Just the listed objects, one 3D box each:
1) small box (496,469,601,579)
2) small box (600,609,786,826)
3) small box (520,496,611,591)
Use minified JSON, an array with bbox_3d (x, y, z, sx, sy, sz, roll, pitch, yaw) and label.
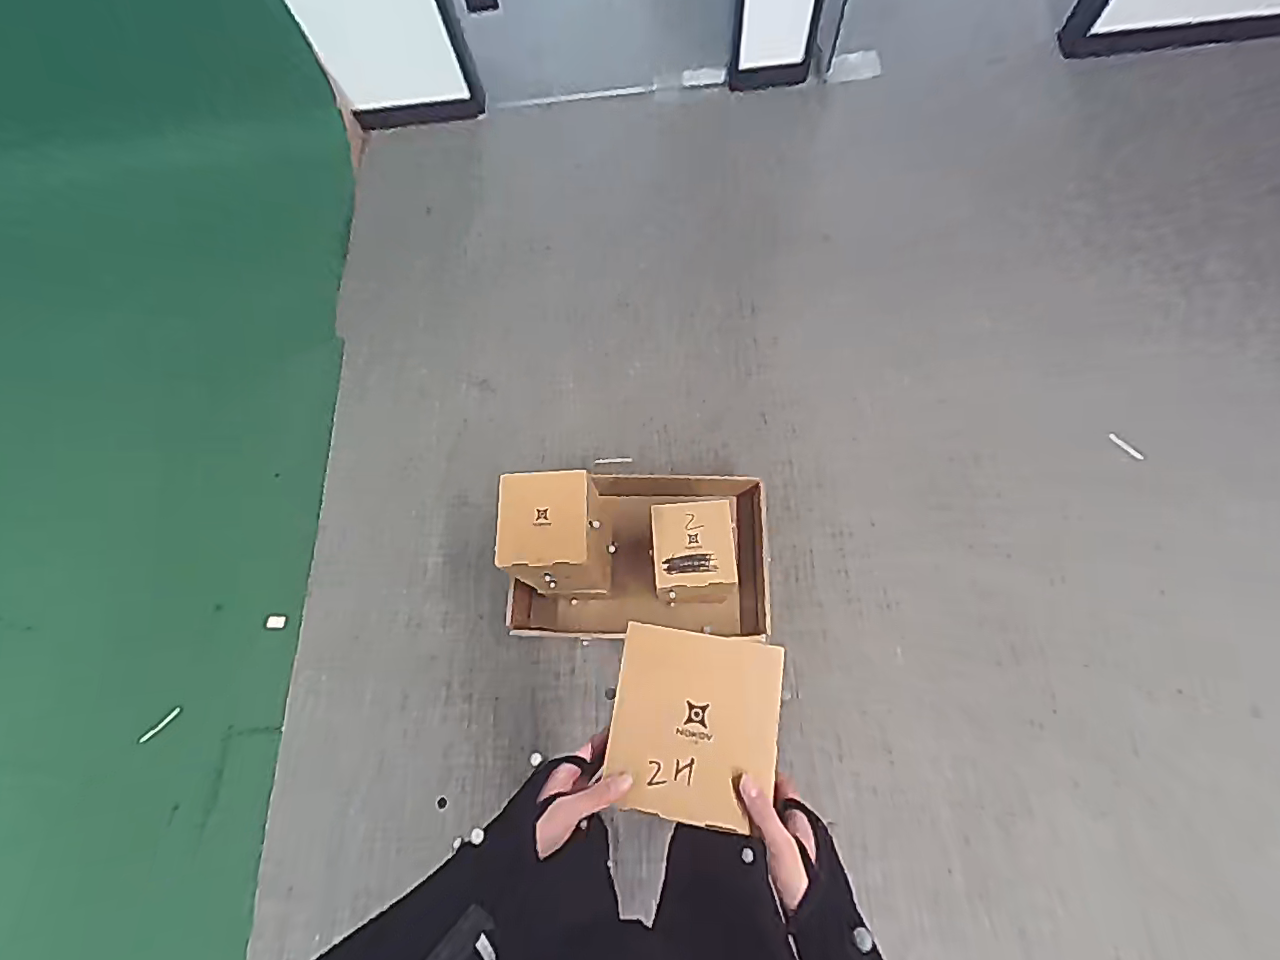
[{"bbox_3d":[-0.170,0.090,1.049,0.168,0.176,0.179,-3,71,4],"label":"small box"},{"bbox_3d":[0.059,0.256,0.612,0.168,0.176,0.179,9,71,6],"label":"small box"},{"bbox_3d":[-0.158,0.146,1.201,0.168,0.176,0.179,-2,69,5],"label":"small box"}]
